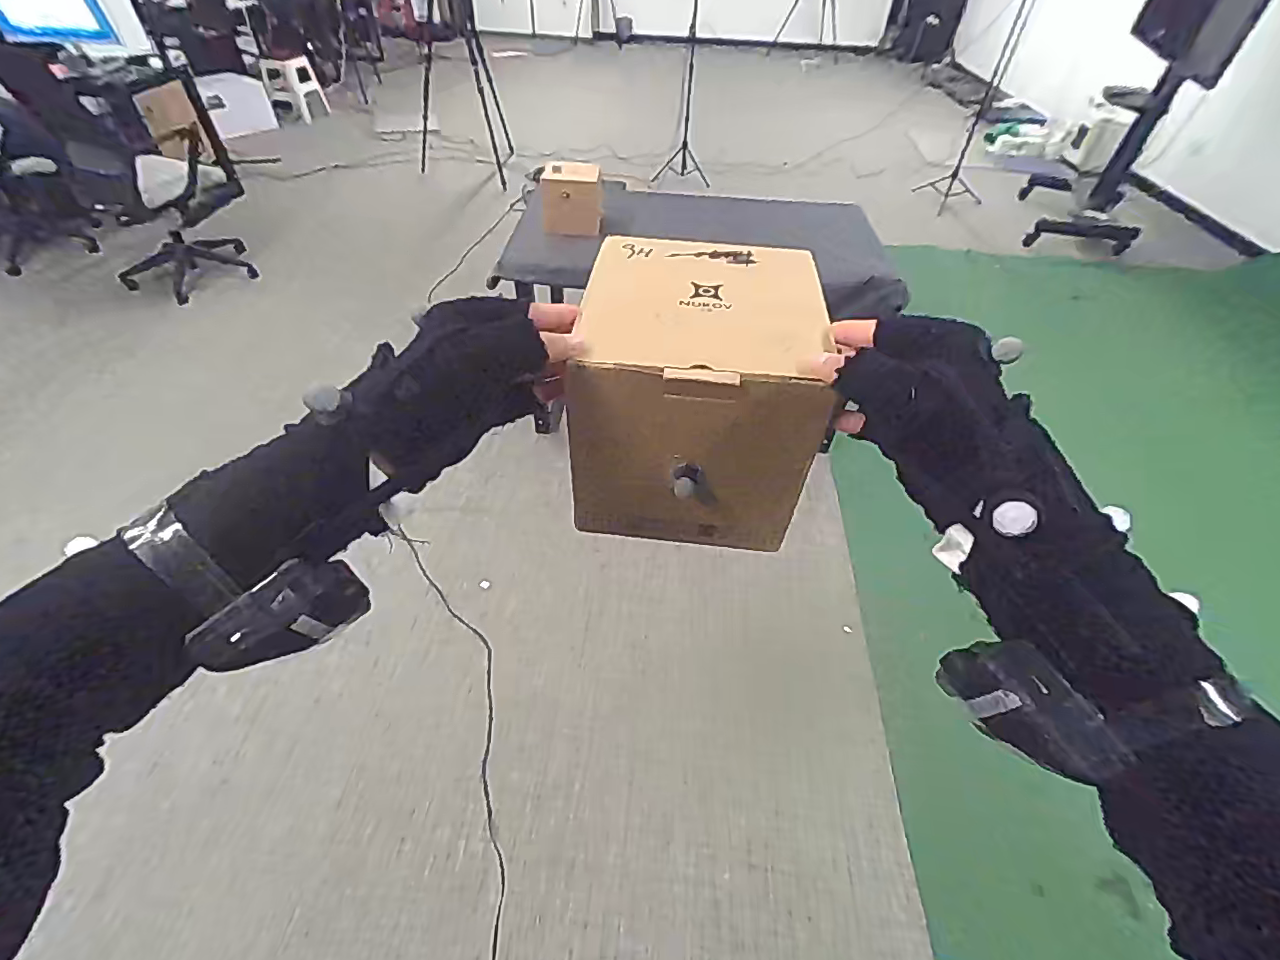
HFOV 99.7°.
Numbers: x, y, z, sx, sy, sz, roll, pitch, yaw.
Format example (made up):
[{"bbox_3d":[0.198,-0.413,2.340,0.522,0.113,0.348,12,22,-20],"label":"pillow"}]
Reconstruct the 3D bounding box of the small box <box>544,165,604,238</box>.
[{"bbox_3d":[-0.210,-0.907,1.761,0.179,0.176,0.168,3,47,-1],"label":"small box"}]

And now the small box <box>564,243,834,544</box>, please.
[{"bbox_3d":[0.042,-0.067,0.436,0.168,0.176,0.179,5,48,3],"label":"small box"}]
